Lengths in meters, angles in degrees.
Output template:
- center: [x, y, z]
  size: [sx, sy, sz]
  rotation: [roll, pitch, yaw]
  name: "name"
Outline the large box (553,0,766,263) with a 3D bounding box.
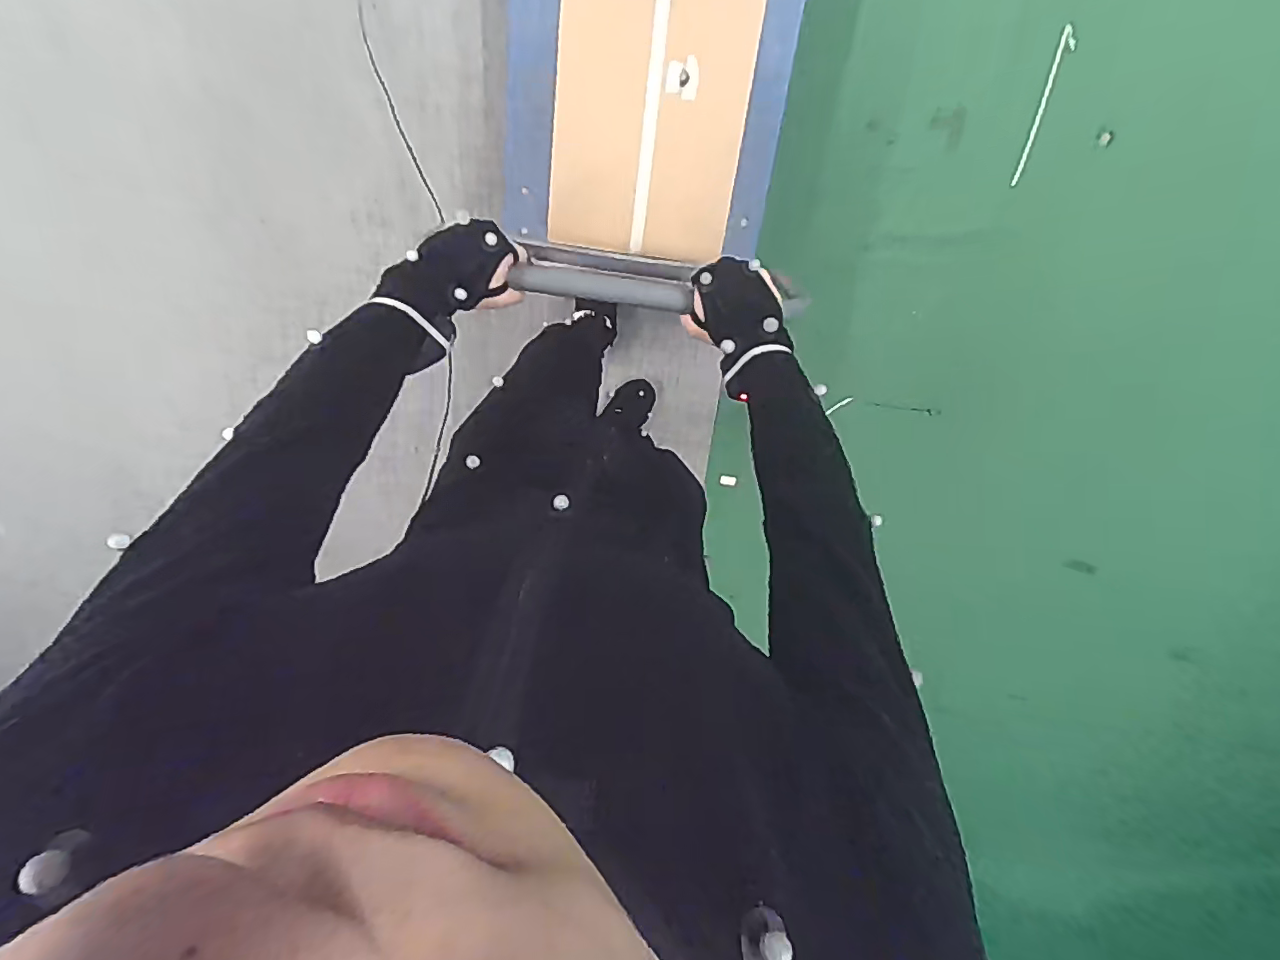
- center: [0.024, -0.642, 1.027]
  size: [0.320, 0.320, 0.408]
  rotation: [7, 113, -2]
  name: "large box"
